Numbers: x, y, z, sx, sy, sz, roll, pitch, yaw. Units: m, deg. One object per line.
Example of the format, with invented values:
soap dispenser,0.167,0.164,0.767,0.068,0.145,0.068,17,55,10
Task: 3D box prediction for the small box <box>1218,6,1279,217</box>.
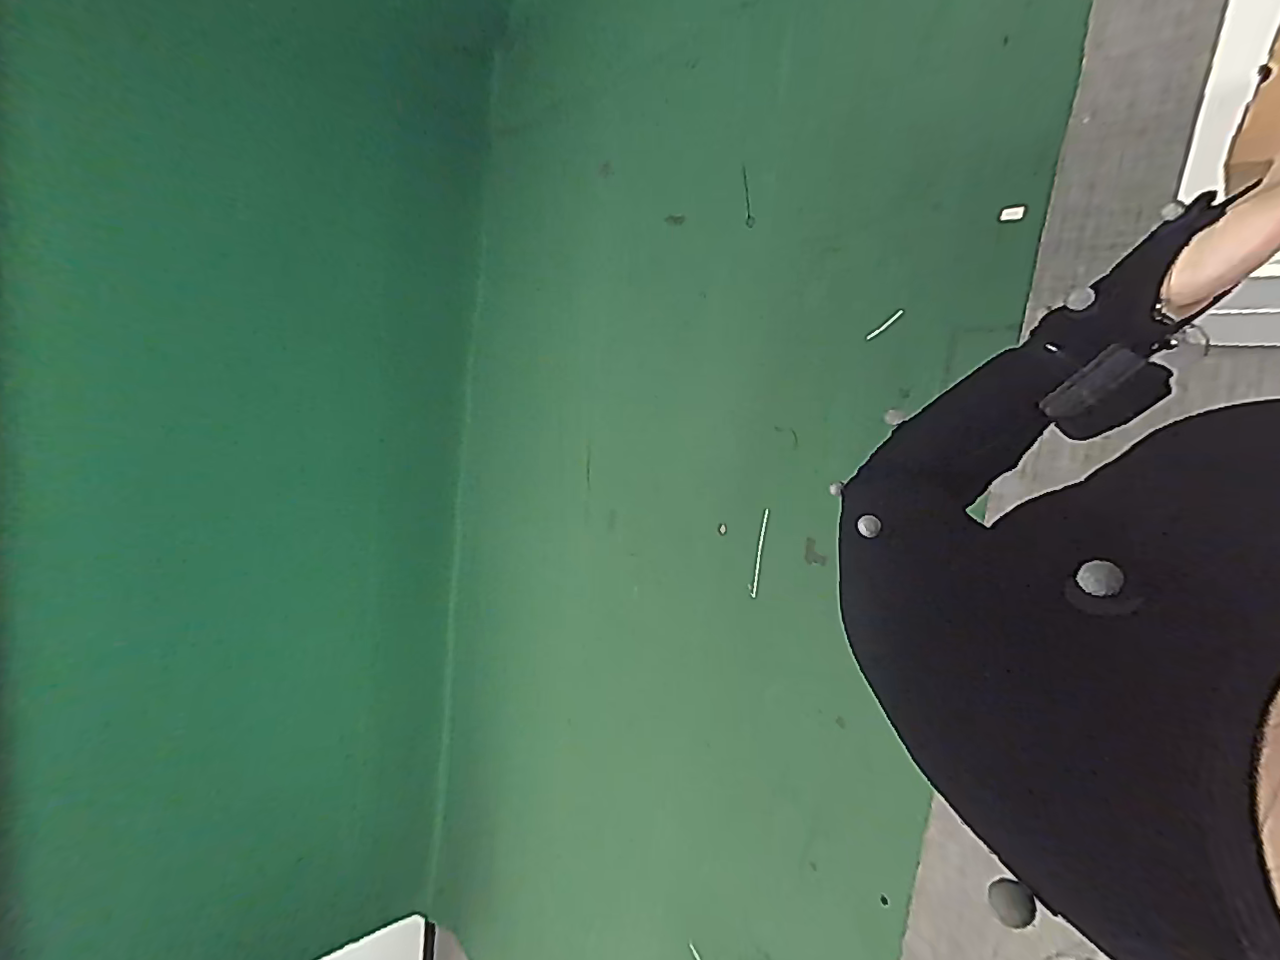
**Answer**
small box,0.715,-0.368,0.524,0.179,0.176,0.168,24,107,45
